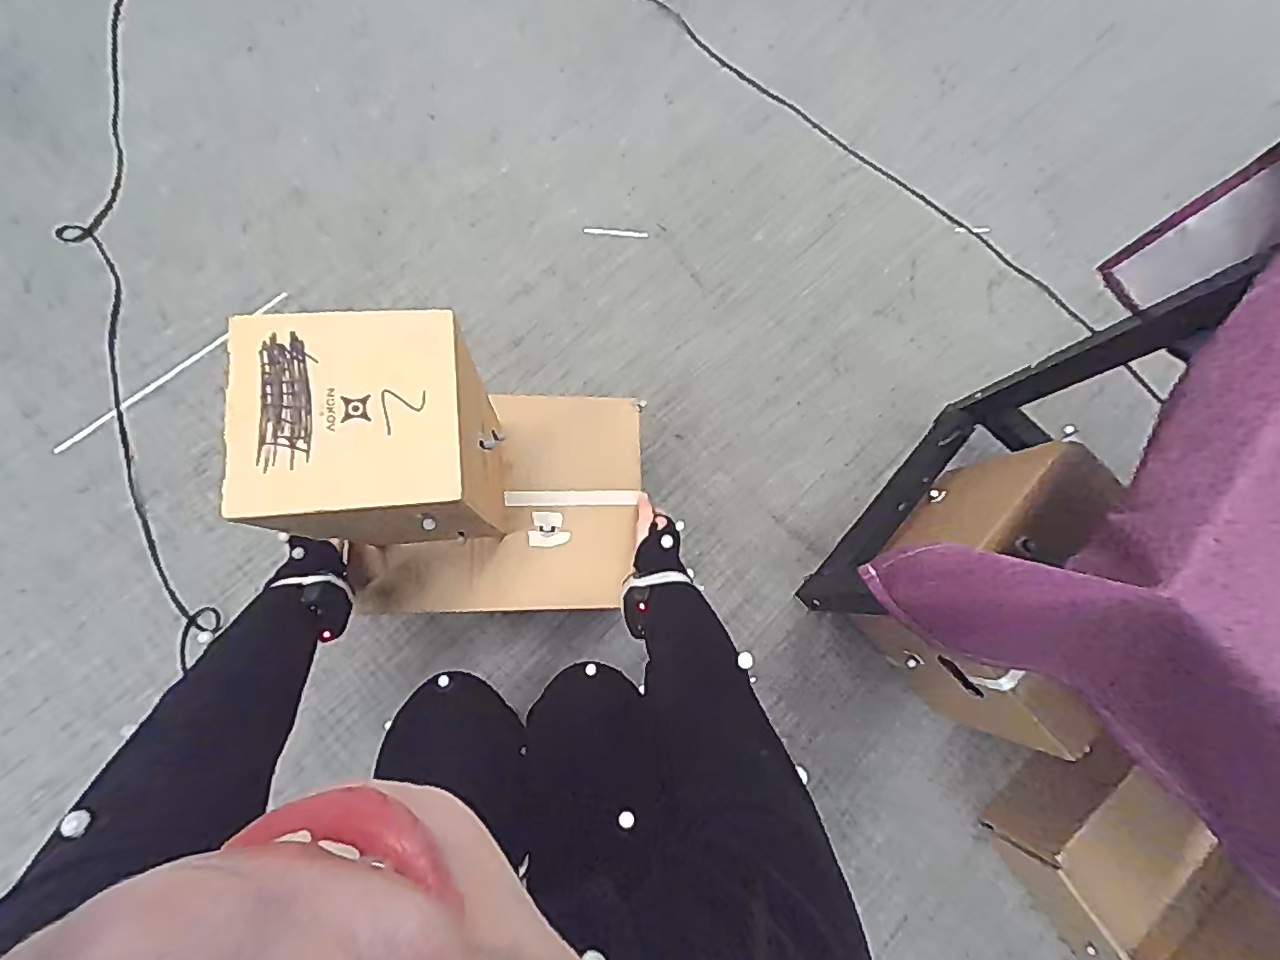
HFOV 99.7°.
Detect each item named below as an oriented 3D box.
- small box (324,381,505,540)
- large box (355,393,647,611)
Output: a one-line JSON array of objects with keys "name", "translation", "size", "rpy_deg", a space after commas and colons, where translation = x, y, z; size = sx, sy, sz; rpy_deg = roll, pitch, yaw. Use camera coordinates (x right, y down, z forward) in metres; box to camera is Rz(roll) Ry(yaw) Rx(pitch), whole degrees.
[{"name": "small box", "translation": [-0.265, -0.016, 0.675], "size": [0.179, 0.176, 0.168], "rpy_deg": [-3, 79, -8]}, {"name": "large box", "translation": [-0.213, 0.050, 0.920], "size": [0.408, 0.320, 0.320], "rpy_deg": [0, 80, -8]}]
